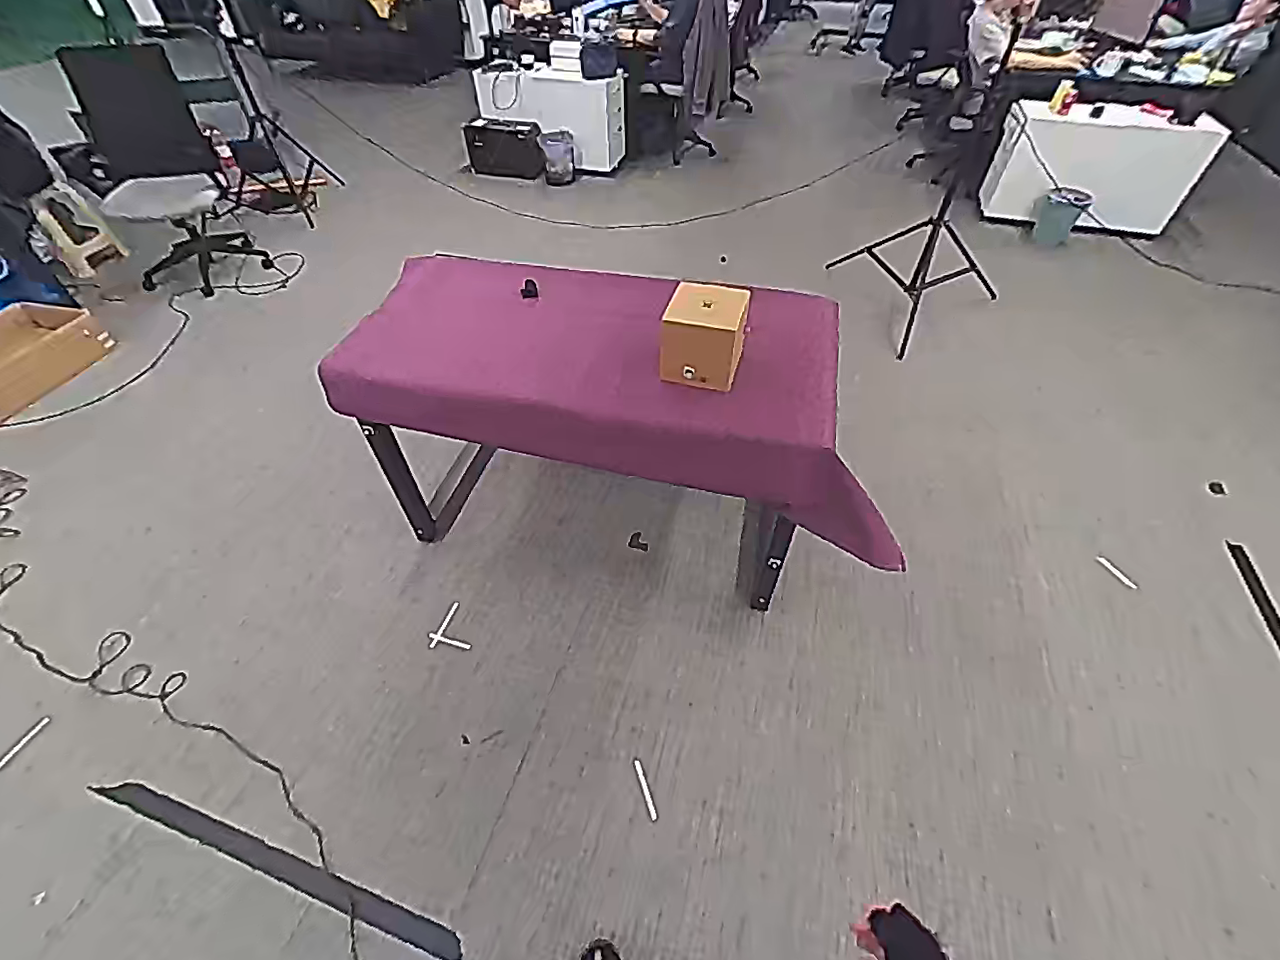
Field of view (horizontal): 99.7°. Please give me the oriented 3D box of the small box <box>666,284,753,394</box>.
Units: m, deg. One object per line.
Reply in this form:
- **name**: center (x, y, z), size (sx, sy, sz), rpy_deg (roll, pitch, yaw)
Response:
- **small box**: center (0.157, -0.327, 1.255), size (0.168, 0.176, 0.179), rpy_deg (12, 49, 12)
